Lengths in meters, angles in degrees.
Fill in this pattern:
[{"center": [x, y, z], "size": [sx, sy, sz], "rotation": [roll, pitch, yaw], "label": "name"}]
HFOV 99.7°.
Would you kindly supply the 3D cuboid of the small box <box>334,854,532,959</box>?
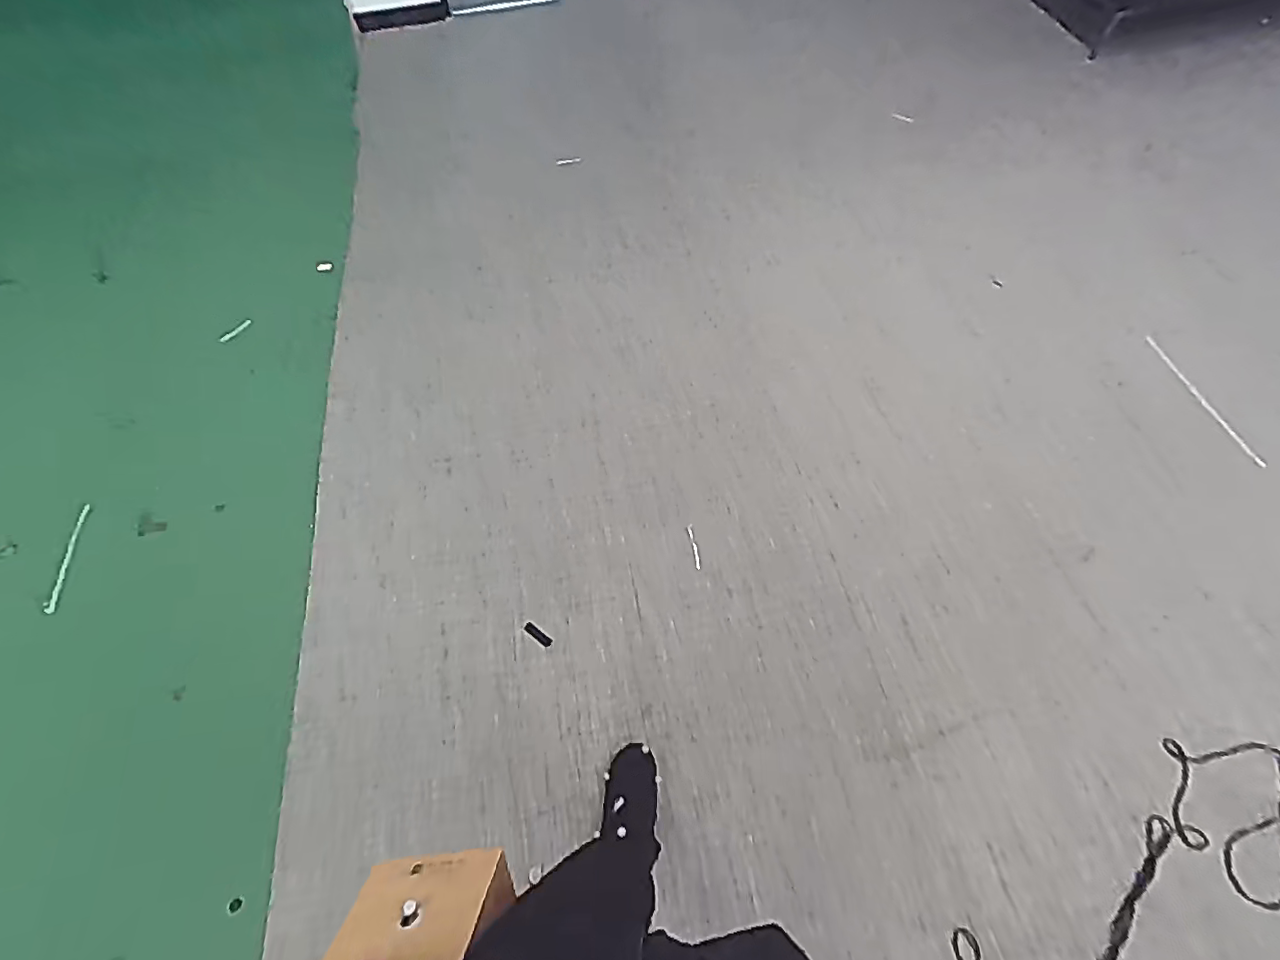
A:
[{"center": [-0.236, 0.564, 0.618], "size": [0.168, 0.176, 0.179], "rotation": [-9, 103, 6], "label": "small box"}]
